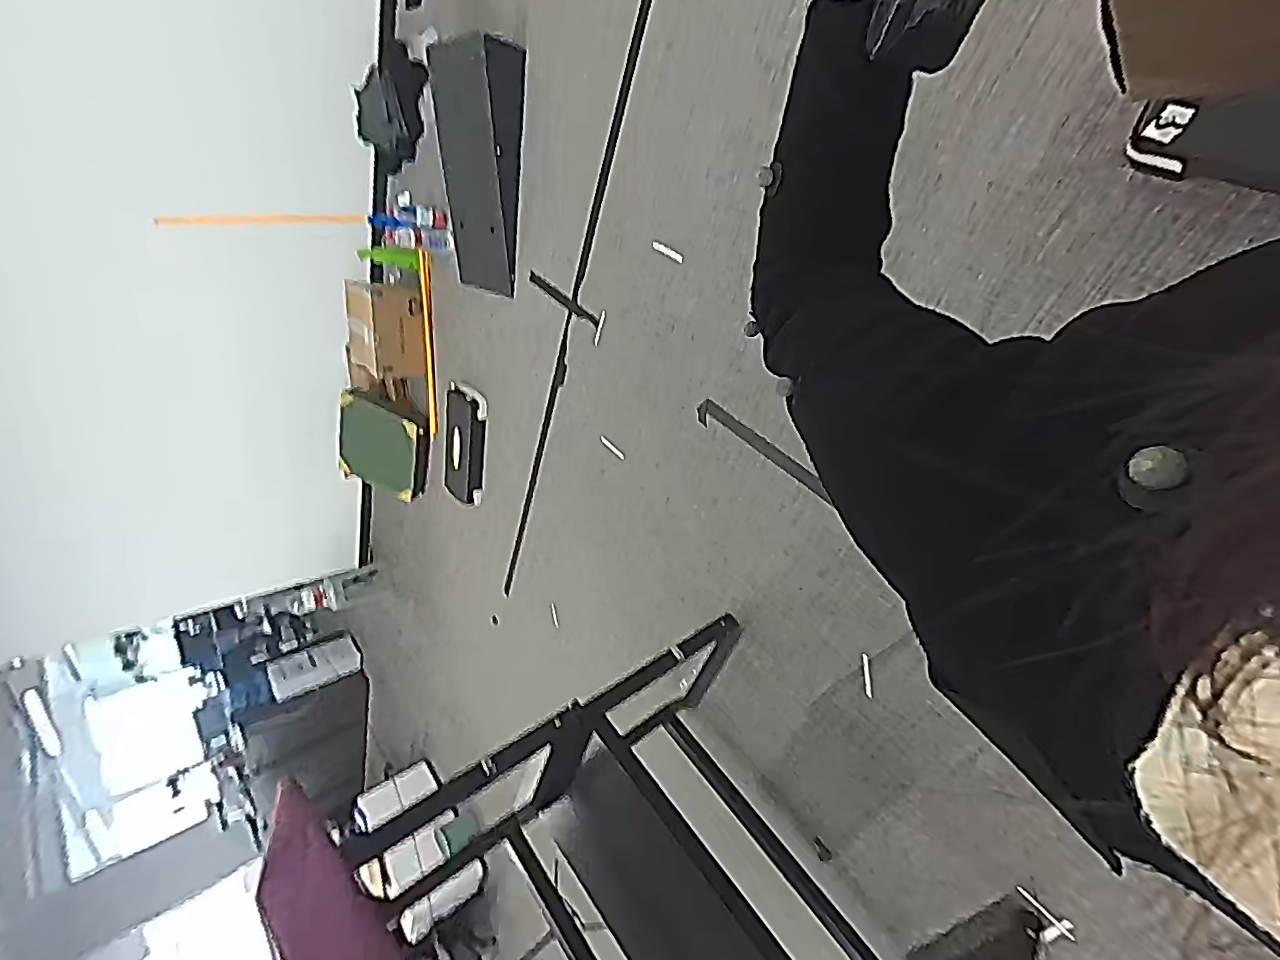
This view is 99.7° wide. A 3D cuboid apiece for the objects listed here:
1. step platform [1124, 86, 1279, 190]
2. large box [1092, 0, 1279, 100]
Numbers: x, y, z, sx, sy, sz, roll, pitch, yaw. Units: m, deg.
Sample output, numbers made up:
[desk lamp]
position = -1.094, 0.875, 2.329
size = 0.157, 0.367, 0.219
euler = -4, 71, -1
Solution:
[step platform]
position = 1.126, -0.524, 0.769
size = 0.684, 0.204, 0.286
euler = 48, 130, 27
[large box]
position = 0.431, -0.331, 0.141
size = 0.408, 0.320, 0.320
euler = 21, 121, 37
